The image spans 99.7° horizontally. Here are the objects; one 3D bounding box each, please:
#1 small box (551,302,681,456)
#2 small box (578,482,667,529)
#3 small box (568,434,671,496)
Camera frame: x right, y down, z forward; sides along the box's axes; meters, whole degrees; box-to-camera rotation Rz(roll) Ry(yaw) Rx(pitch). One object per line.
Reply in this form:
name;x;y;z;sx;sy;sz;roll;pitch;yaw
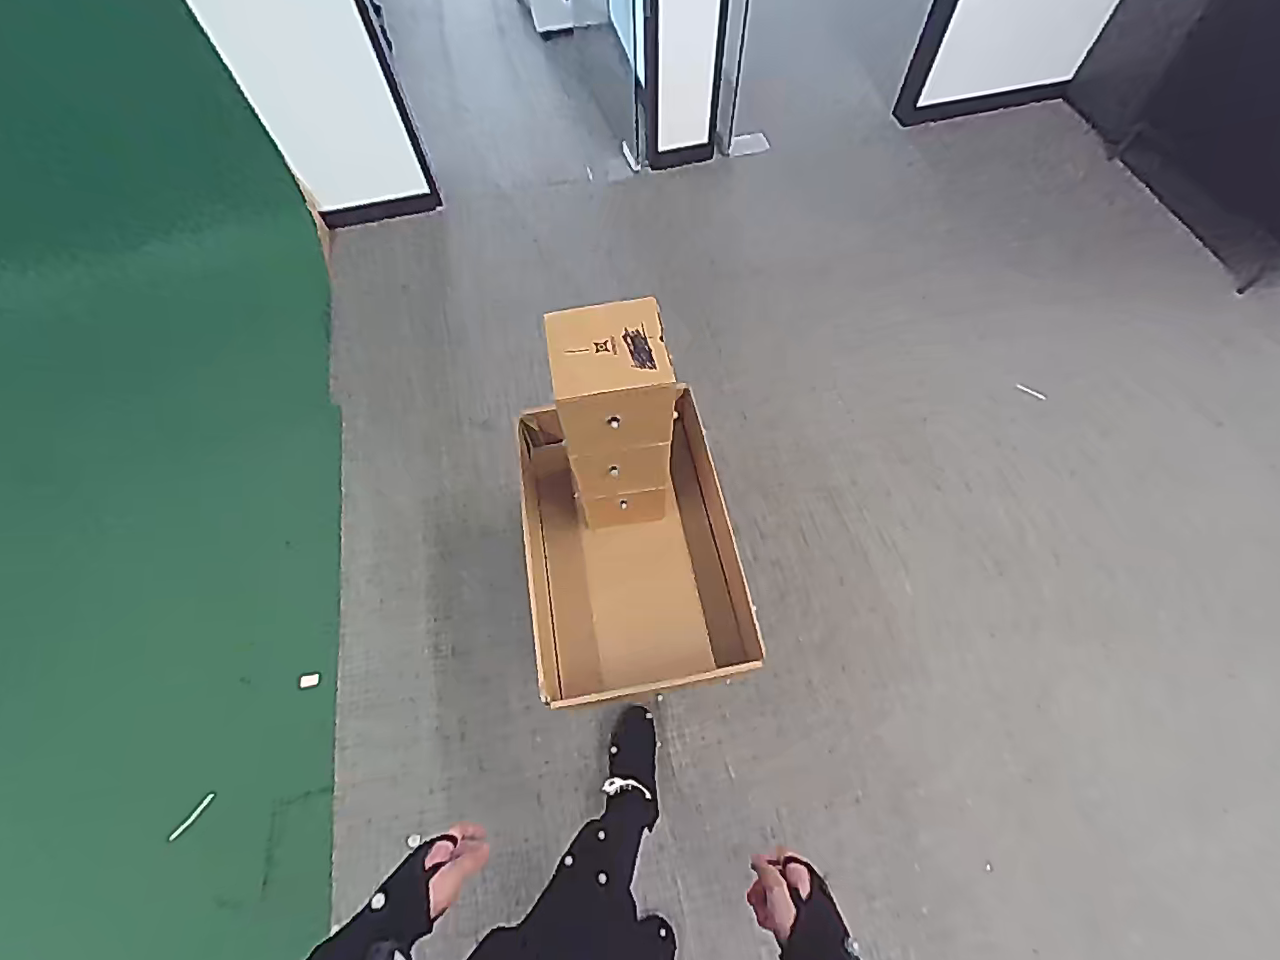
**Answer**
small box;-0.039;-0.155;0.864;0.179;0.176;0.168;-9;64;-4
small box;-0.041;-0.005;1.157;0.179;0.176;0.168;-7;64;-4
small box;-0.040;-0.081;1.011;0.179;0.176;0.168;-8;65;-3
